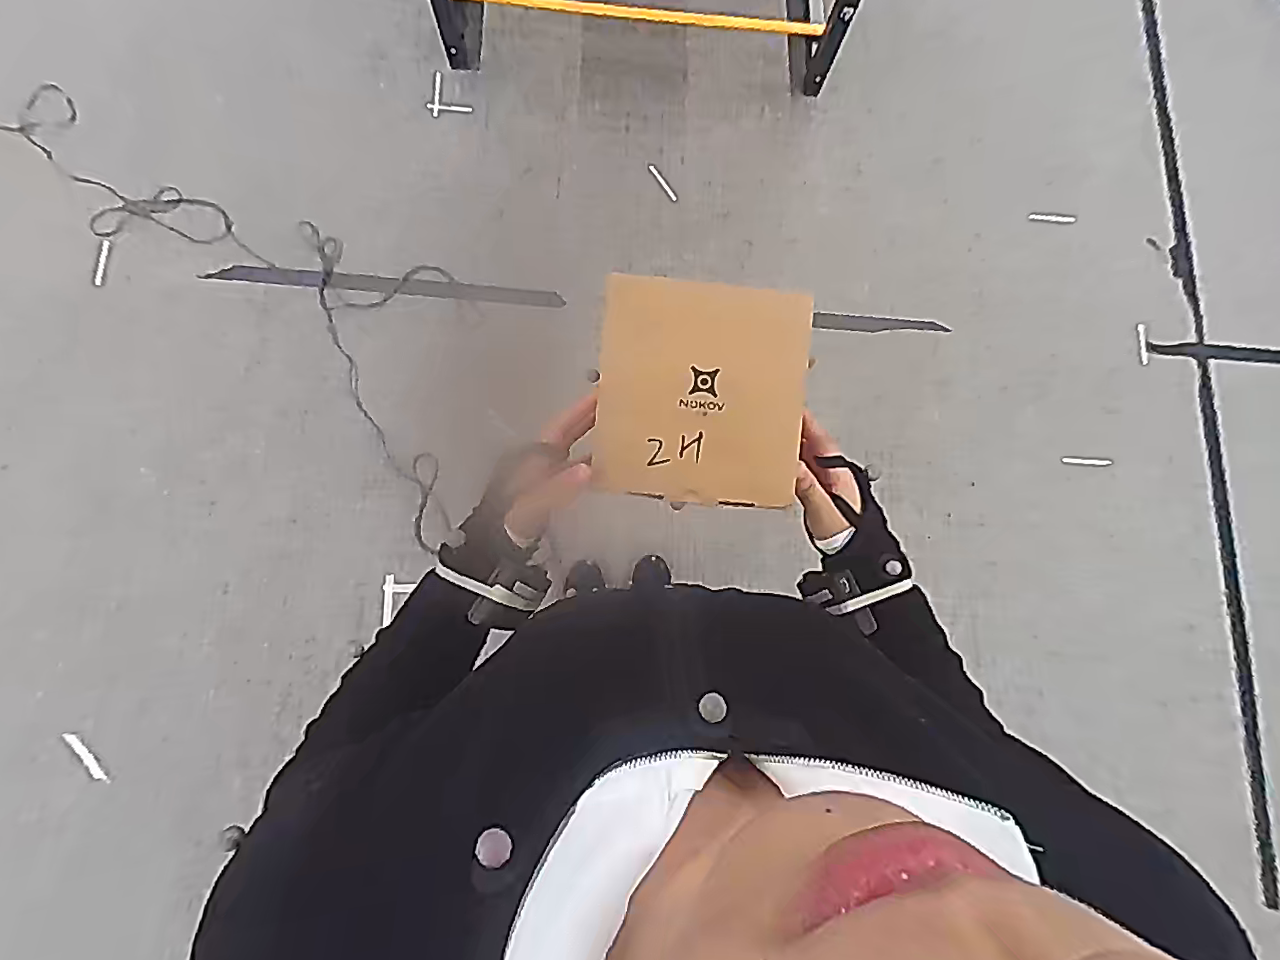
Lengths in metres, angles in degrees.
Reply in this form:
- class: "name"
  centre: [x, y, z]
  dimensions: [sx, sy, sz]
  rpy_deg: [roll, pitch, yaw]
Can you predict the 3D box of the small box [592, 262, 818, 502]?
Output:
- class: "small box"
  centre: [0.050, -0.078, 0.503]
  dimensions: [0.168, 0.176, 0.179]
  rpy_deg: [6, 91, 0]
